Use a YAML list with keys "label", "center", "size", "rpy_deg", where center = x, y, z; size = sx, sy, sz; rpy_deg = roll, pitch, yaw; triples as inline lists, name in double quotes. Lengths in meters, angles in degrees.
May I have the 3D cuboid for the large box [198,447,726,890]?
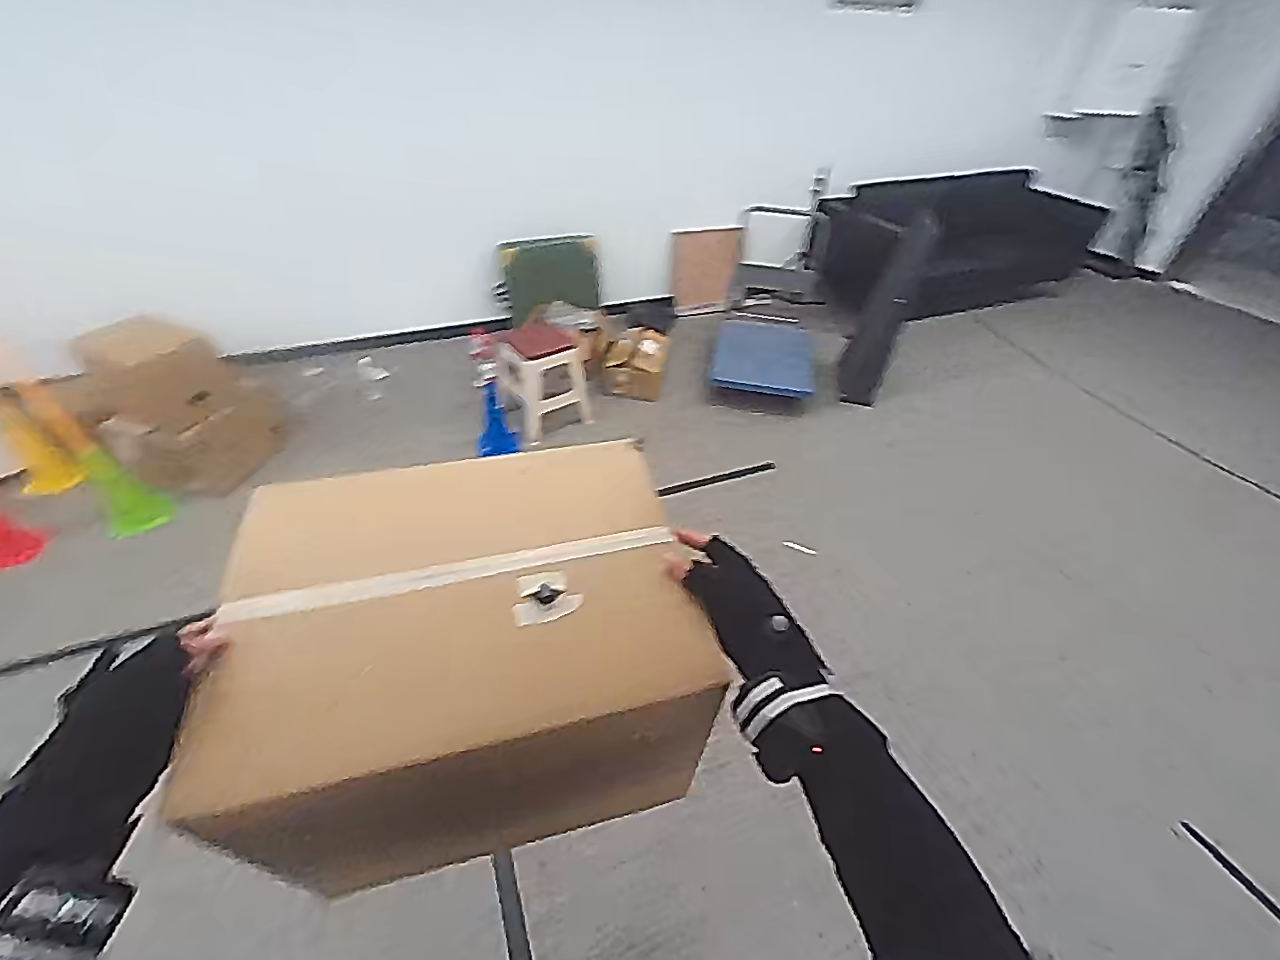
- label: "large box"
  center: [-0.165, 0.199, 0.617]
  size: [0.408, 0.320, 0.320]
  rpy_deg: [-8, 47, -14]
